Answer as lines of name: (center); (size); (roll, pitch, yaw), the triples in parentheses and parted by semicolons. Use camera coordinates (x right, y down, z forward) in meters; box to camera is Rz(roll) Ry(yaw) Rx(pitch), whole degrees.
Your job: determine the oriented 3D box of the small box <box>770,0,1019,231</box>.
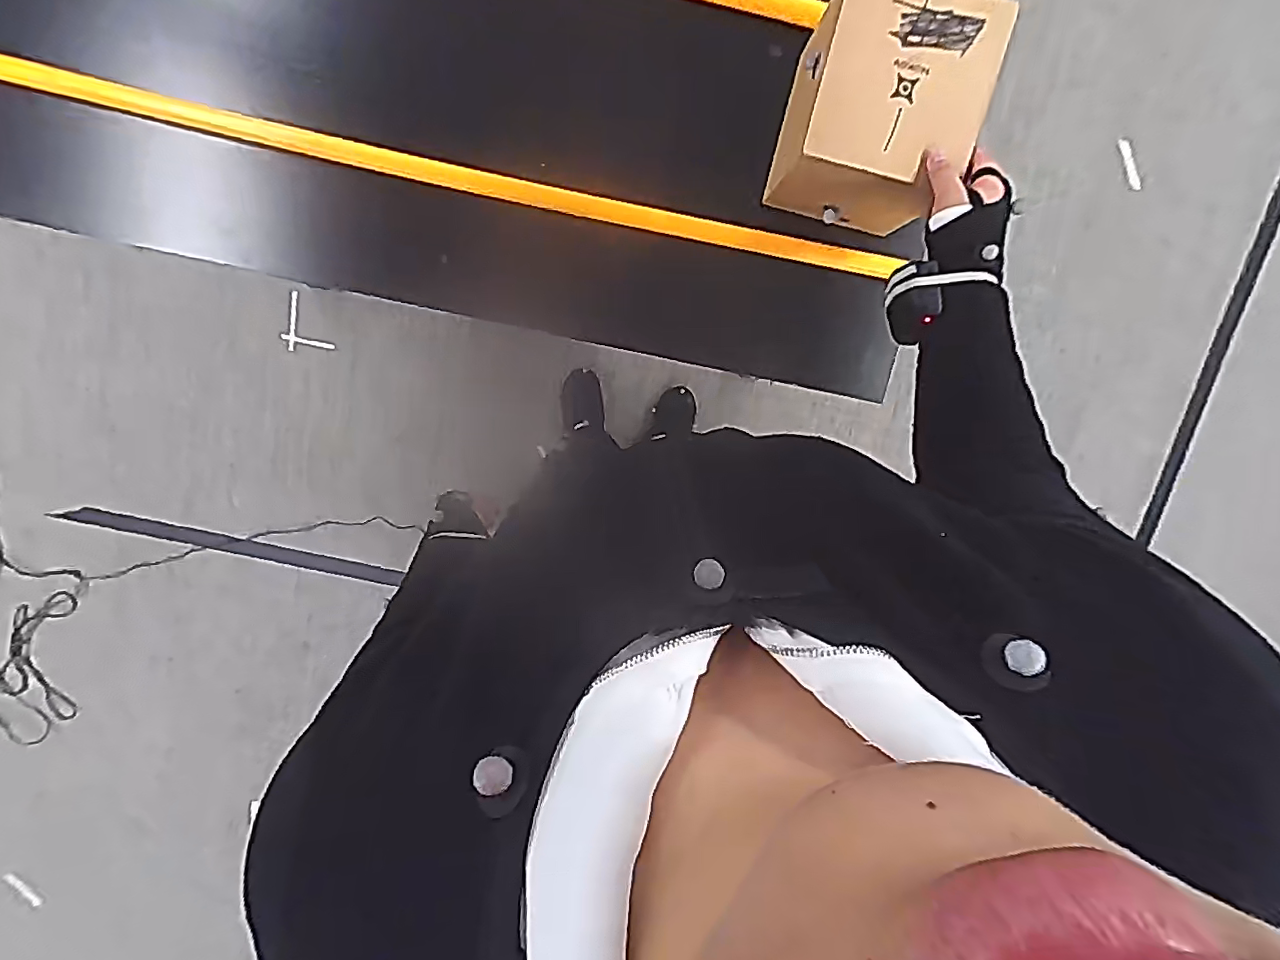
small box: (0.258, -0.403, 0.597); (0.168, 0.176, 0.179); (14, 101, -3)
